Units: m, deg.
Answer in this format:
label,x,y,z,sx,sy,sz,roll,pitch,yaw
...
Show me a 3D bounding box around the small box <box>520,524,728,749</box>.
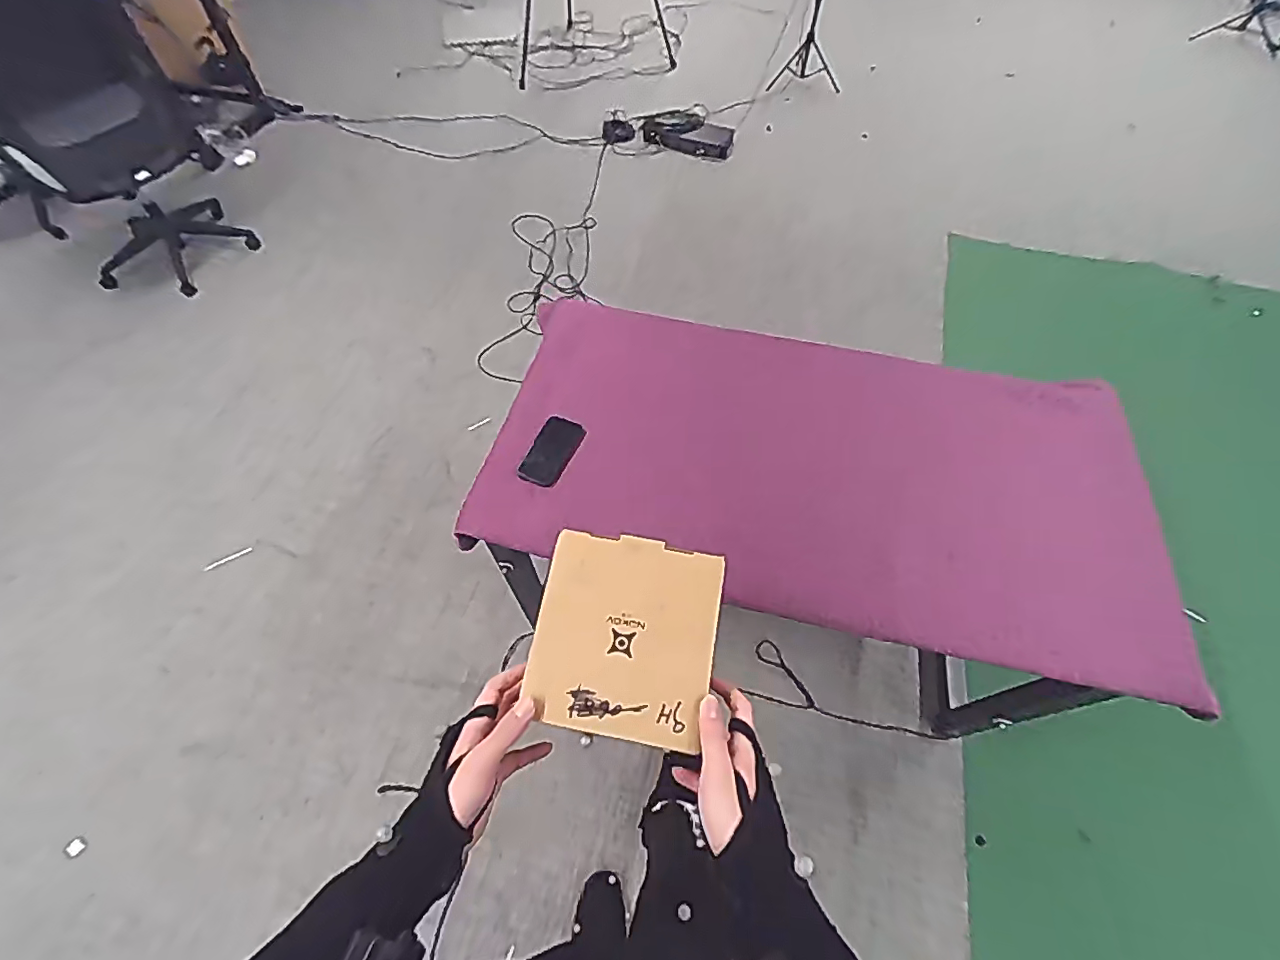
label,x,y,z,sx,sy,sz,roll,pitch,yaw
small box,-0.009,0.165,0.569,0.168,0.176,0.179,9,69,6
